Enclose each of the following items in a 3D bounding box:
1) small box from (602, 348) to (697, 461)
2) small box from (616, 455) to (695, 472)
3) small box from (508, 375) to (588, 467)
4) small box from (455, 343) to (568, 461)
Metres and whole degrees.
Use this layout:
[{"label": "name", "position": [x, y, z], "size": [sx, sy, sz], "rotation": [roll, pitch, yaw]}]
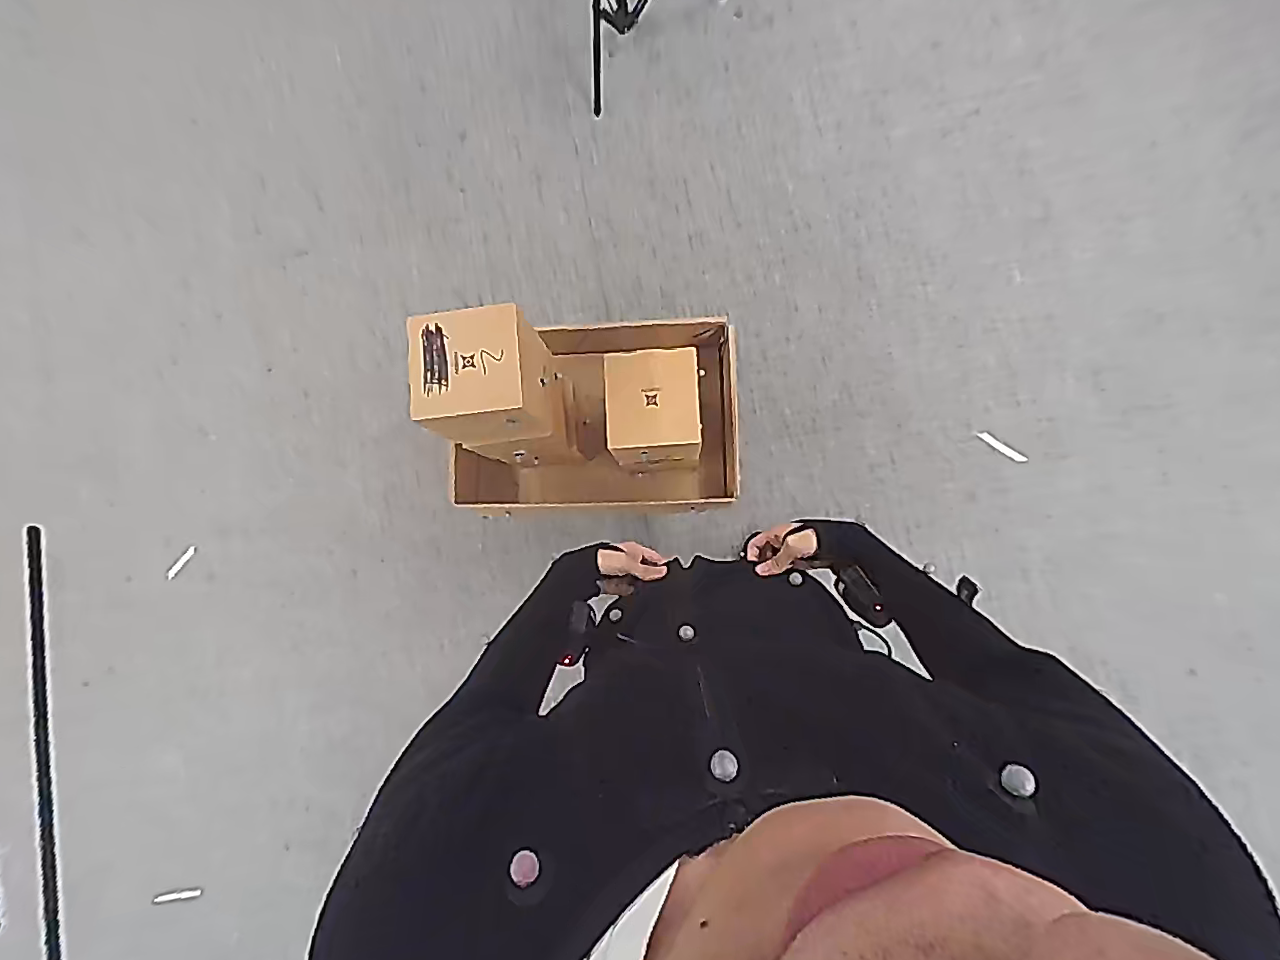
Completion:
[{"label": "small box", "position": [0.023, -0.134, 1.027], "size": [0.168, 0.176, 0.179], "rotation": [-4, 82, 4]}, {"label": "small box", "position": [0.035, -0.113, 1.188], "size": [0.168, 0.176, 0.179], "rotation": [-4, 83, 4]}, {"label": "small box", "position": [-0.220, -0.124, 1.209], "size": [0.179, 0.176, 0.168], "rotation": [-5, 84, 3]}, {"label": "small box", "position": [-0.242, -0.143, 1.047], "size": [0.168, 0.176, 0.179], "rotation": [-7, 83, 5]}]
